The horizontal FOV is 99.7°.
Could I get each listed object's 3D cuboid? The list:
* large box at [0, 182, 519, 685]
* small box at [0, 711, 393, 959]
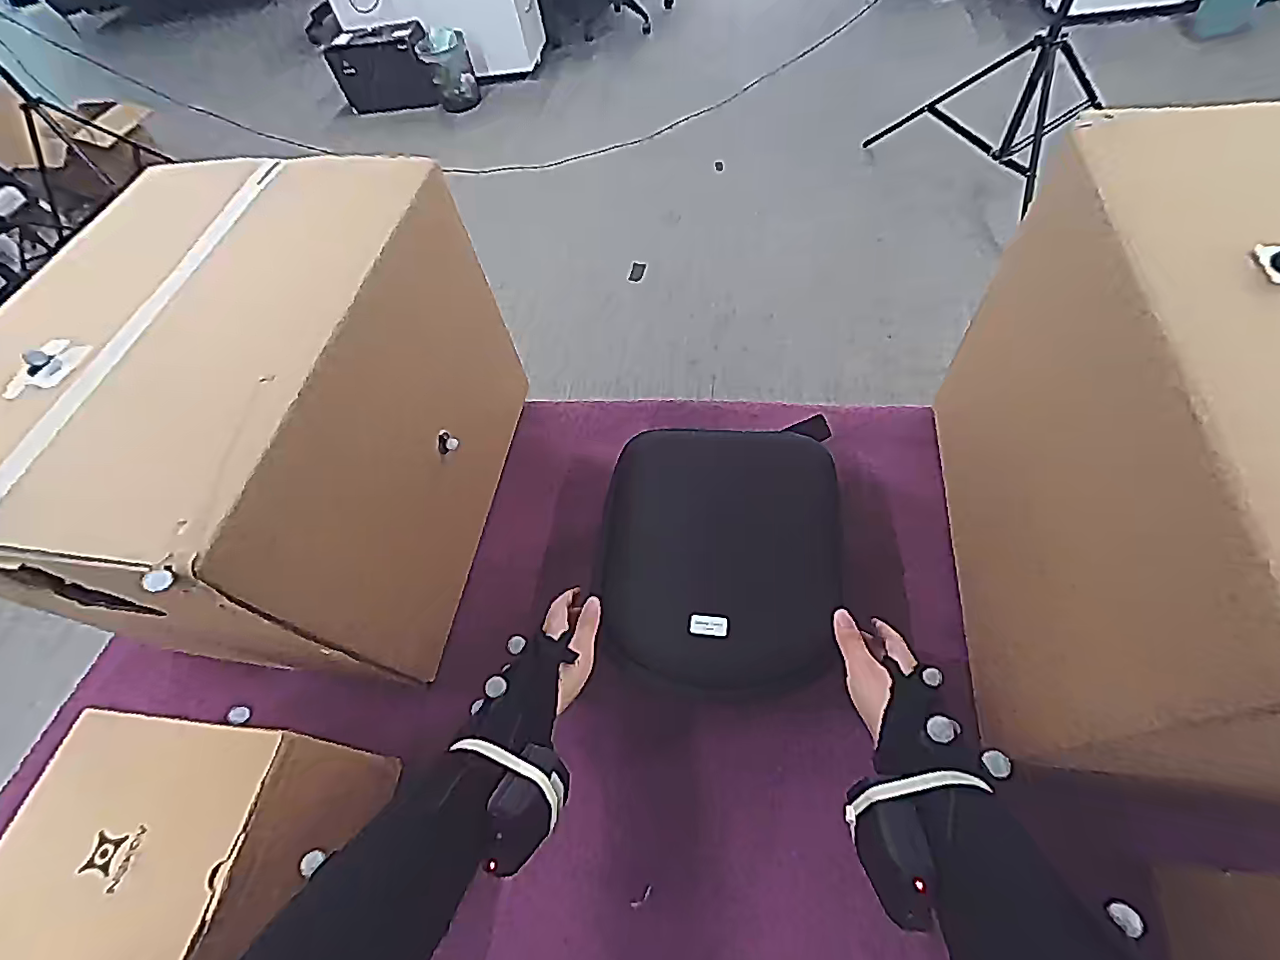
[{"bbox_3d":[-0.348,-0.039,0.554,0.320,0.320,0.408,3,60,10],"label":"large box"},{"bbox_3d":[-0.336,0.292,0.423,0.179,0.176,0.168,2,56,9],"label":"small box"}]
